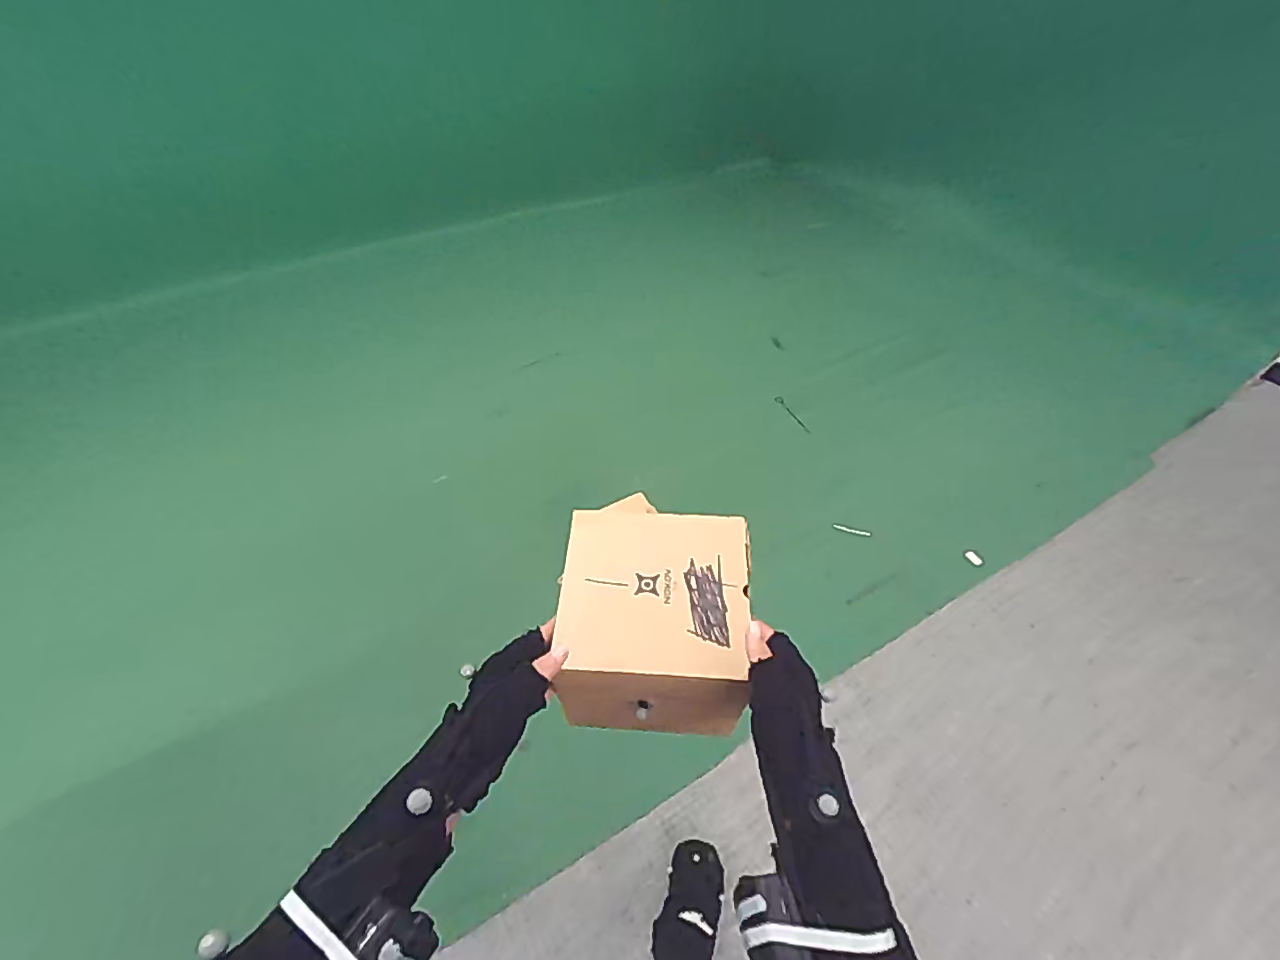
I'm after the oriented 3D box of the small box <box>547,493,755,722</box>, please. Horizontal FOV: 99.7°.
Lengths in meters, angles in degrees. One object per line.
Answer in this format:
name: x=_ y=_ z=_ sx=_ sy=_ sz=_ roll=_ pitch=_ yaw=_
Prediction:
small box: x=0.015 y=0.136 z=0.558 sx=0.179 sy=0.176 sz=0.168 roll=5 pitch=49 yaw=4
